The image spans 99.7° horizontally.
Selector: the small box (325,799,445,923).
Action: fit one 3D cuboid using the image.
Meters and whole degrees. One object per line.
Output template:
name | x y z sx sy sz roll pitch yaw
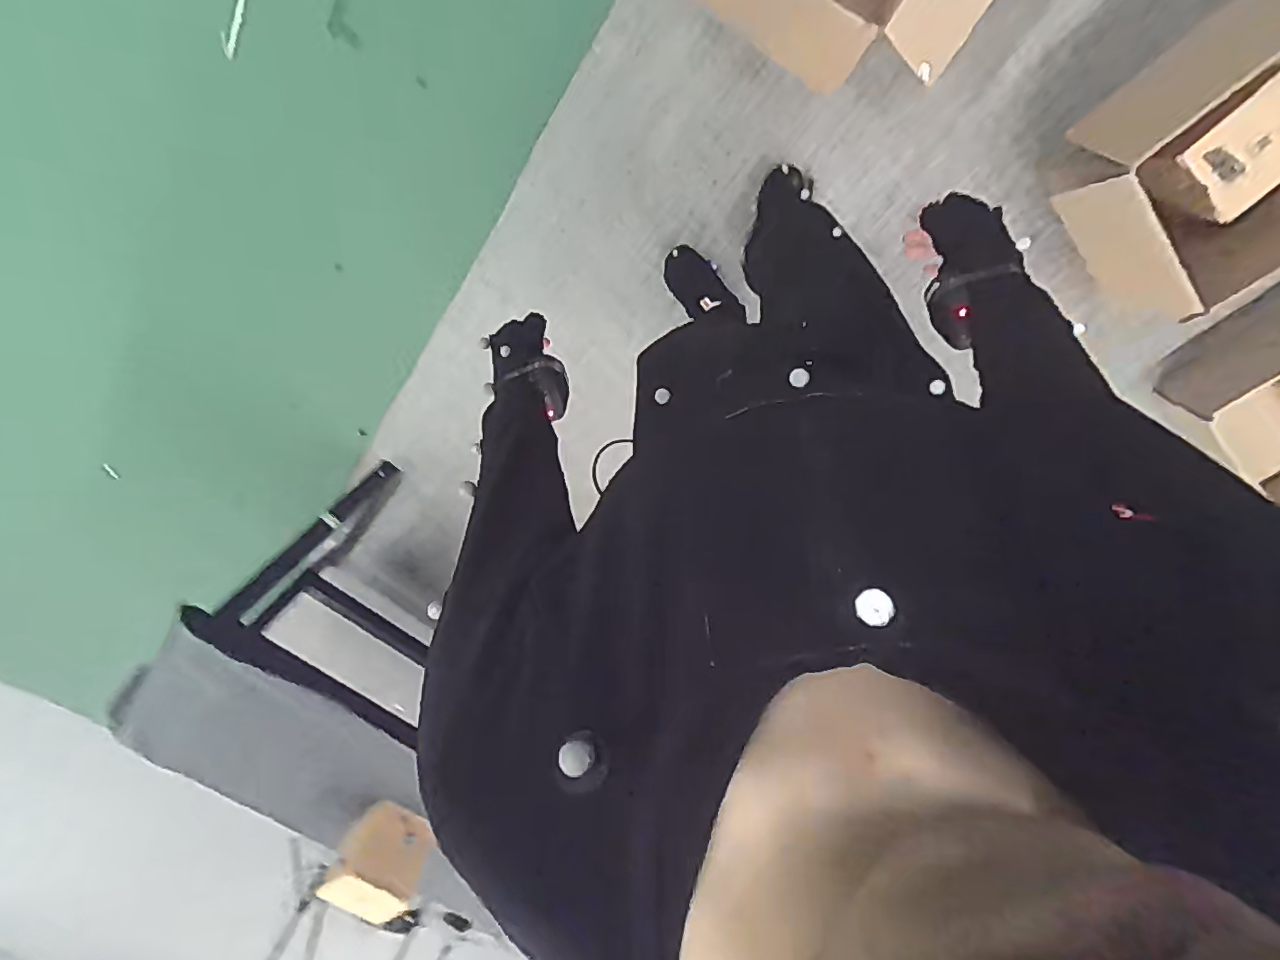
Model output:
small box | -0.601 0.907 1.292 0.168 0.176 0.179 40 117 -14
